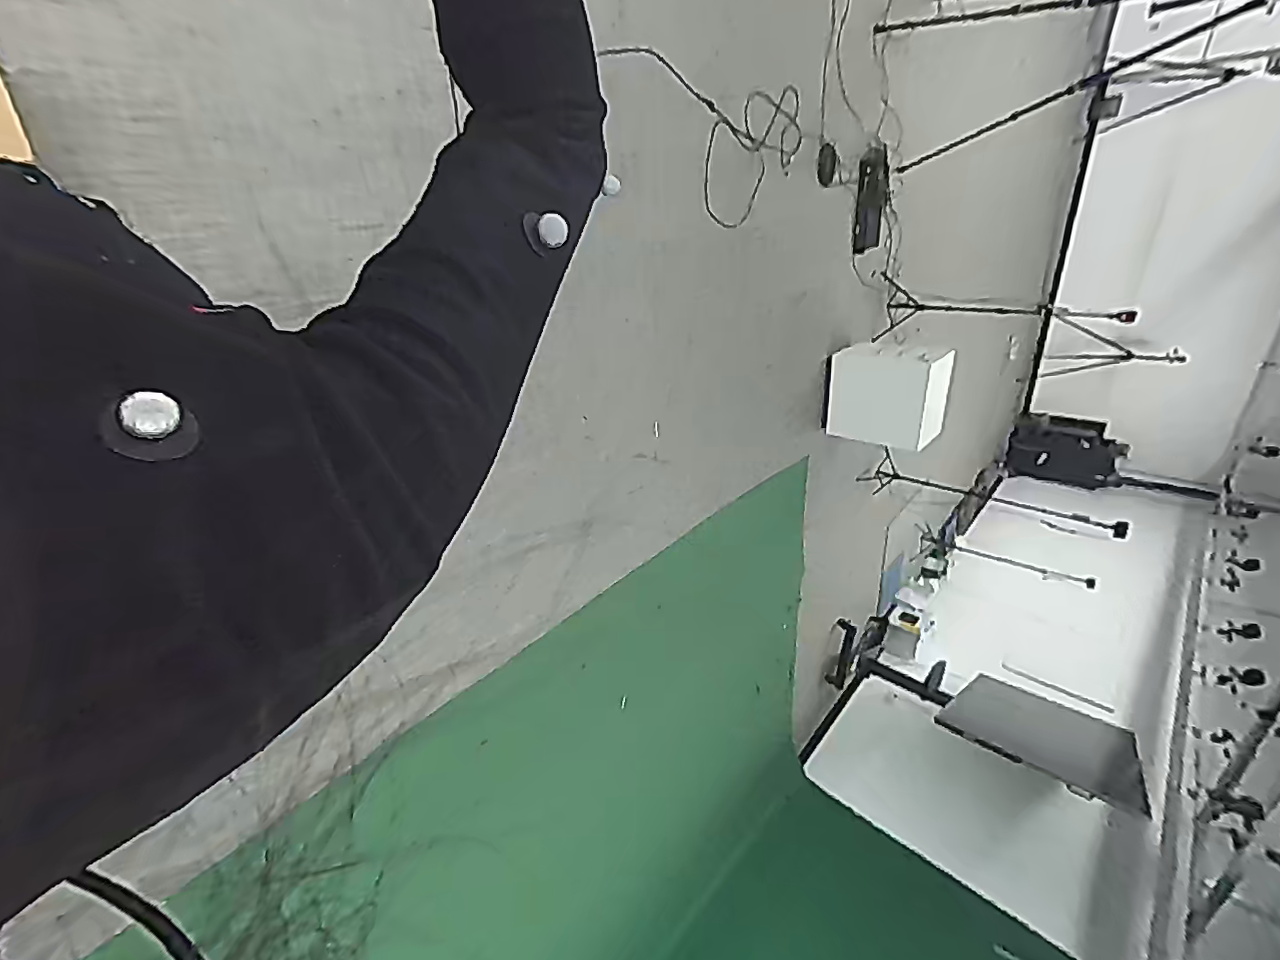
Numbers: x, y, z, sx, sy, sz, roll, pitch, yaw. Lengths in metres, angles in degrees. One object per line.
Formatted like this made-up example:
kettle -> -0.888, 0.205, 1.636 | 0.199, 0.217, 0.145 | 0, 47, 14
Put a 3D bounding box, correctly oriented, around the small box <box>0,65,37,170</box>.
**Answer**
small box -> -1.055, -0.577, 0.805 | 0.168, 0.176, 0.179 | -23, 122, -40
